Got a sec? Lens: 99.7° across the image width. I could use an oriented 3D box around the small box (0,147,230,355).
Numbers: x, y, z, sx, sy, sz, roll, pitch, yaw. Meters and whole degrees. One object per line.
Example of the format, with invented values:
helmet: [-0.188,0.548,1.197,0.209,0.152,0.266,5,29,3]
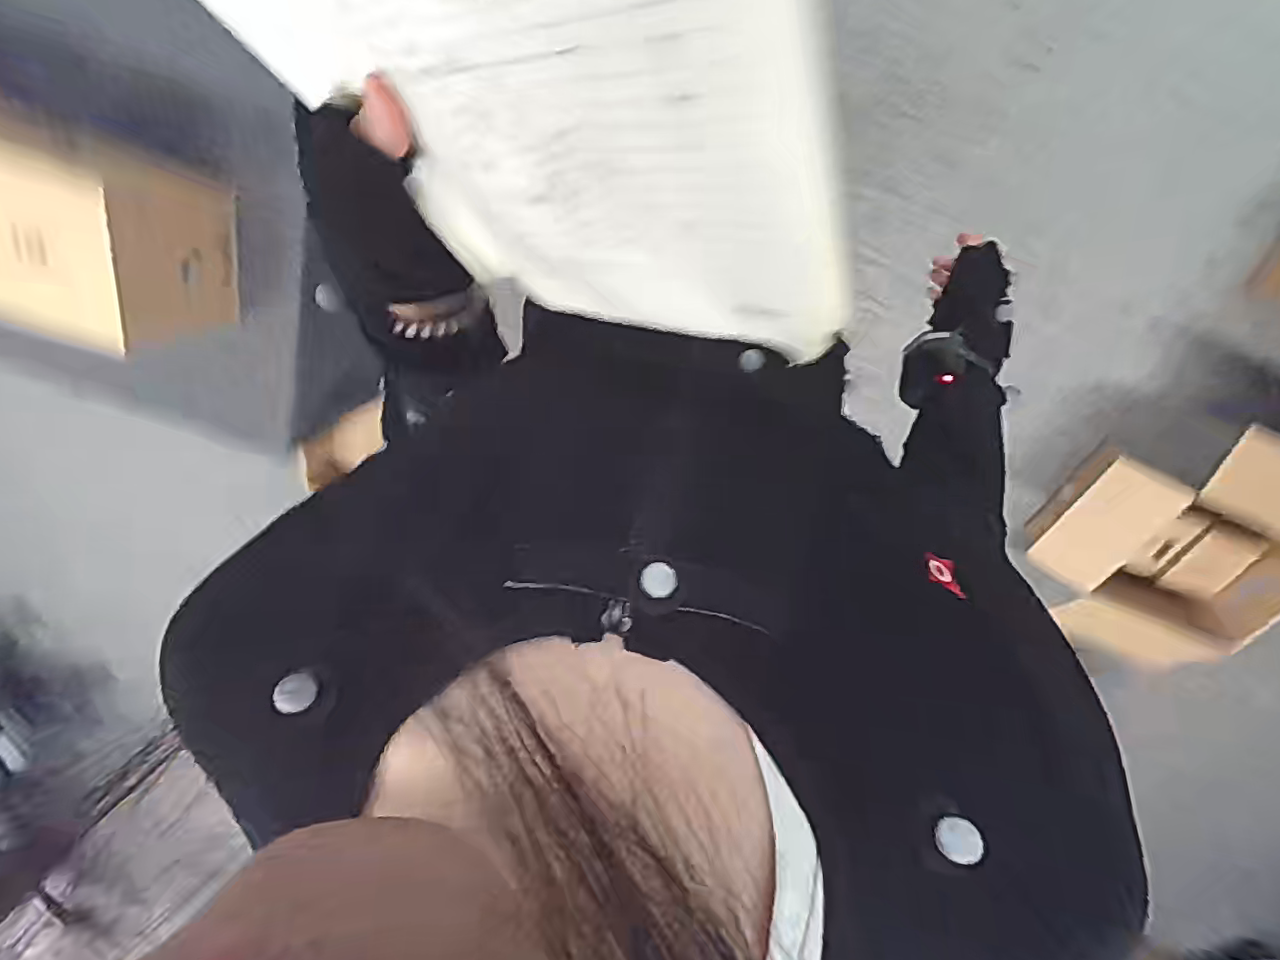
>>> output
small box: [-0.608,-0.265,0.618,0.179,0.176,0.168,18,117,-2]
